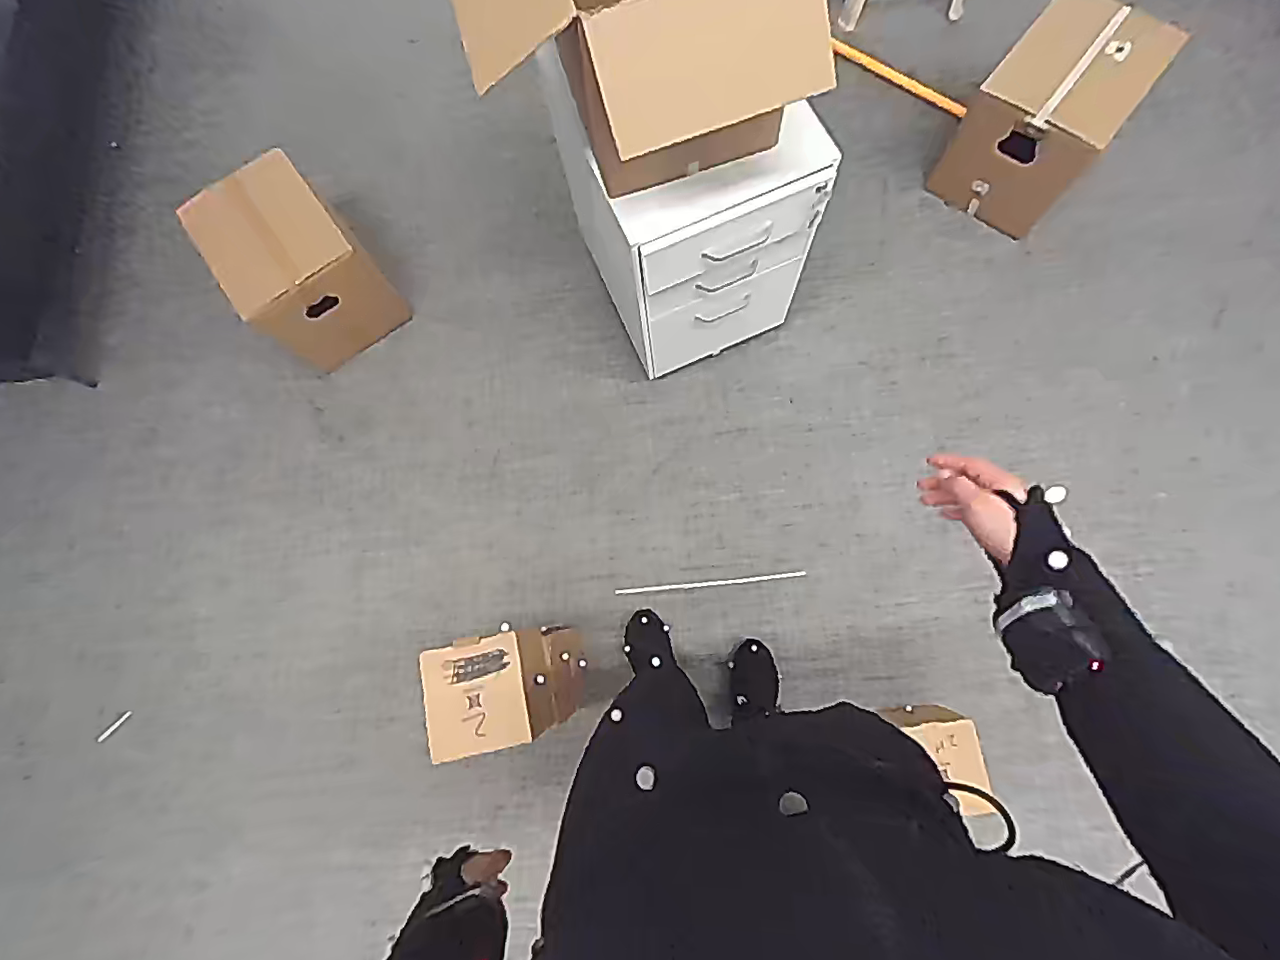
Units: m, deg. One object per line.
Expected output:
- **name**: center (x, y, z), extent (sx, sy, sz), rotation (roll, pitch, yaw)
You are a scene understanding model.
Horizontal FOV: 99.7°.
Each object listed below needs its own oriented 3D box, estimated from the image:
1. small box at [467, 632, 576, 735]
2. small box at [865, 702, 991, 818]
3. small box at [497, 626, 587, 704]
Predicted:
- **small box**: center (-0.236, 0.410, 1.115), extent (0.179, 0.176, 0.168), rotation (-11, 74, 4)
- **small box**: center (0.606, 0.591, 1.159), extent (0.168, 0.176, 0.179), rotation (-8, 76, 2)
- **small box**: center (-0.224, 0.438, 1.276), extent (0.179, 0.176, 0.168), rotation (-8, 75, 3)
